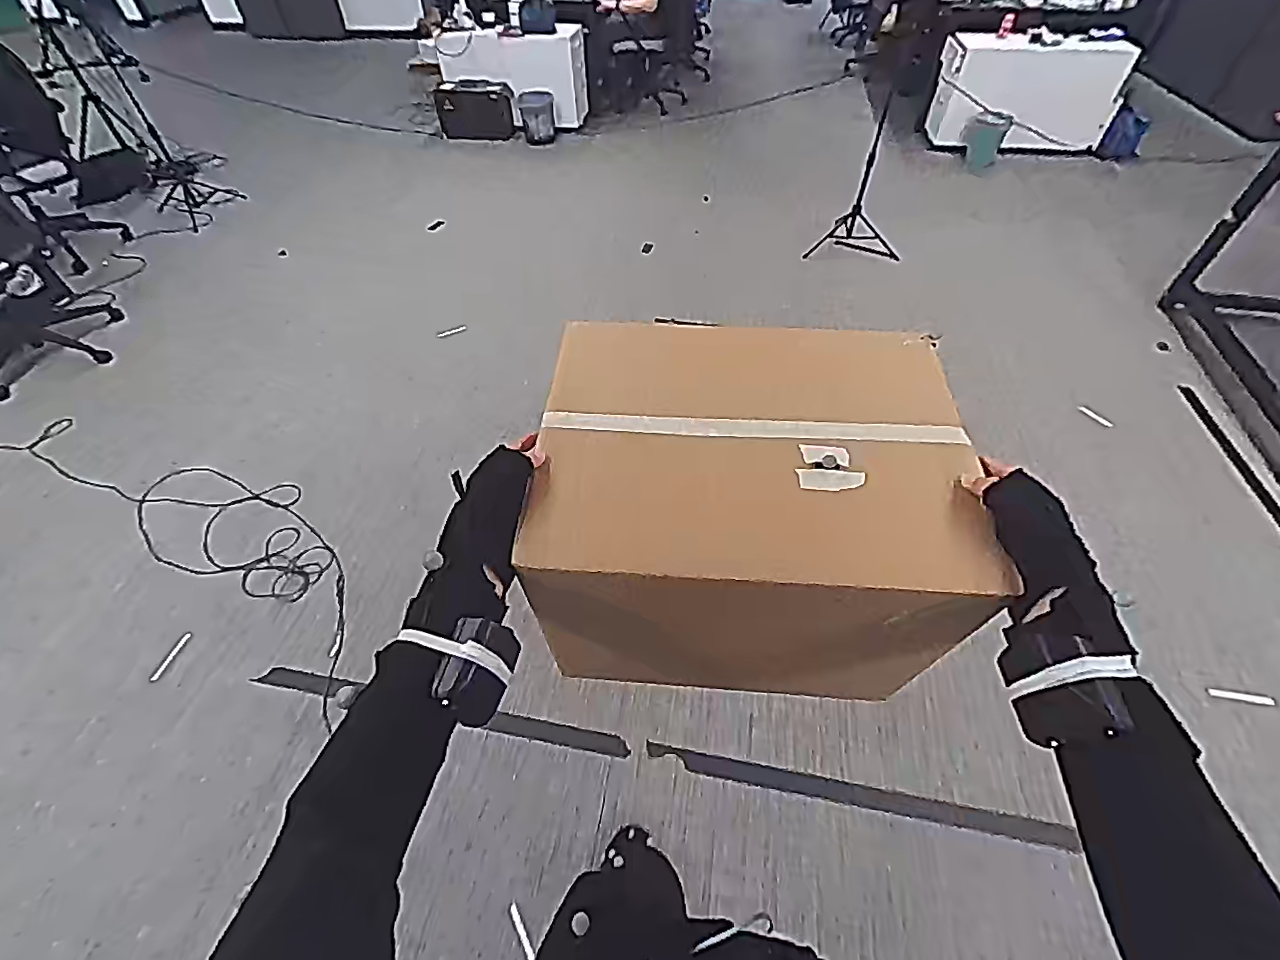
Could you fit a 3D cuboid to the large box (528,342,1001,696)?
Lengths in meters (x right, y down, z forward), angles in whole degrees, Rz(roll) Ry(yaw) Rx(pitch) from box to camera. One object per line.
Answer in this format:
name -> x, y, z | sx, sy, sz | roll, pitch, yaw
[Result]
large box -> 0.109, 0.055, 0.657 | 0.408, 0.320, 0.320 | 3, 54, 3
